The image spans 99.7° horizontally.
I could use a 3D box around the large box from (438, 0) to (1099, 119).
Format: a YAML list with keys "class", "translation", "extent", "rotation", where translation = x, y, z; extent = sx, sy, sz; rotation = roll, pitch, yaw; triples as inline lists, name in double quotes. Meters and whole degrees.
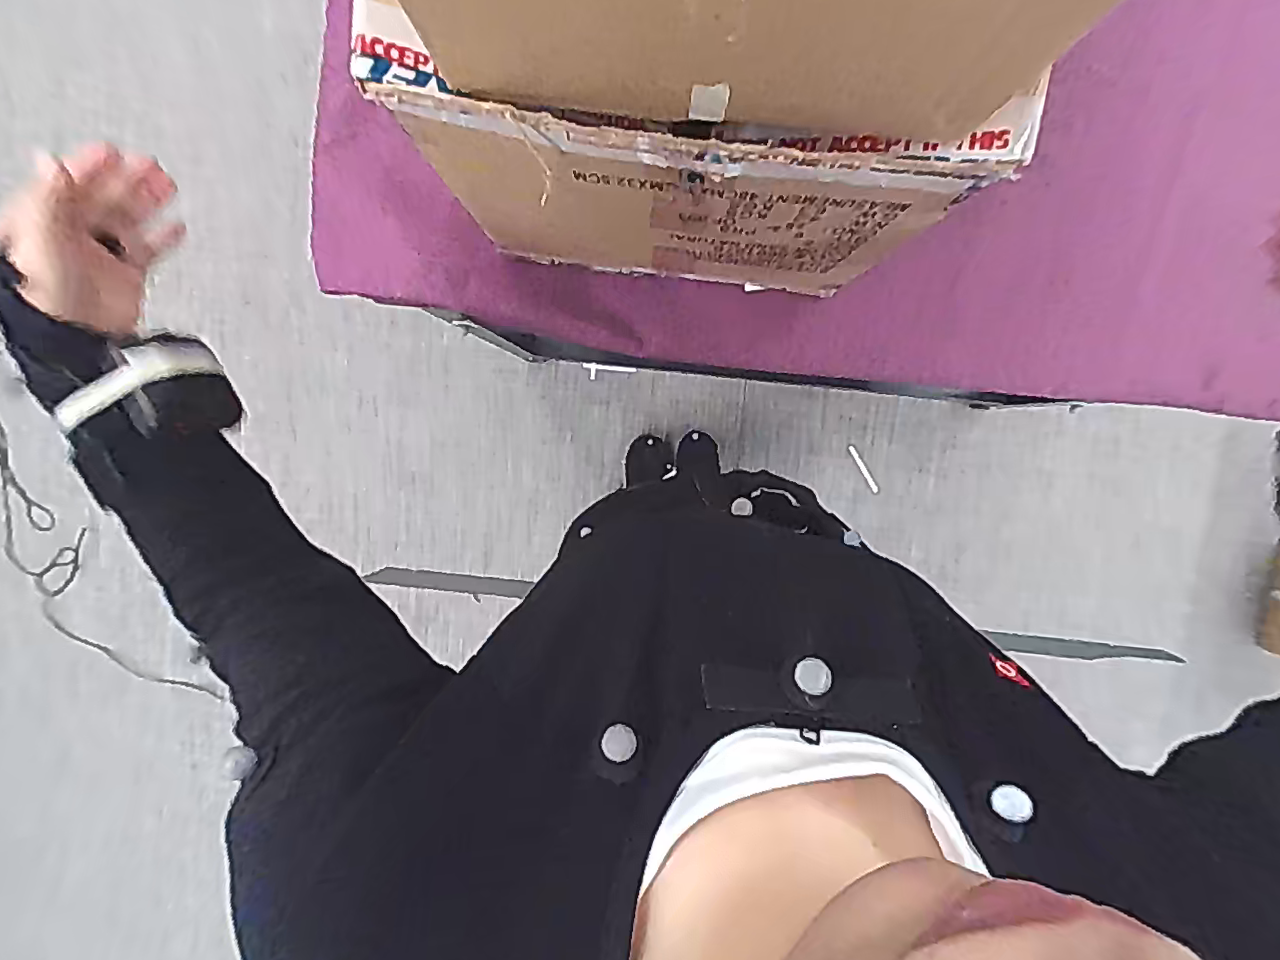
- class: "large box"
  translation: [0.064, -0.404, 0.150]
  extent: [0.320, 0.320, 0.408]
  rotation: [5, 96, 2]
